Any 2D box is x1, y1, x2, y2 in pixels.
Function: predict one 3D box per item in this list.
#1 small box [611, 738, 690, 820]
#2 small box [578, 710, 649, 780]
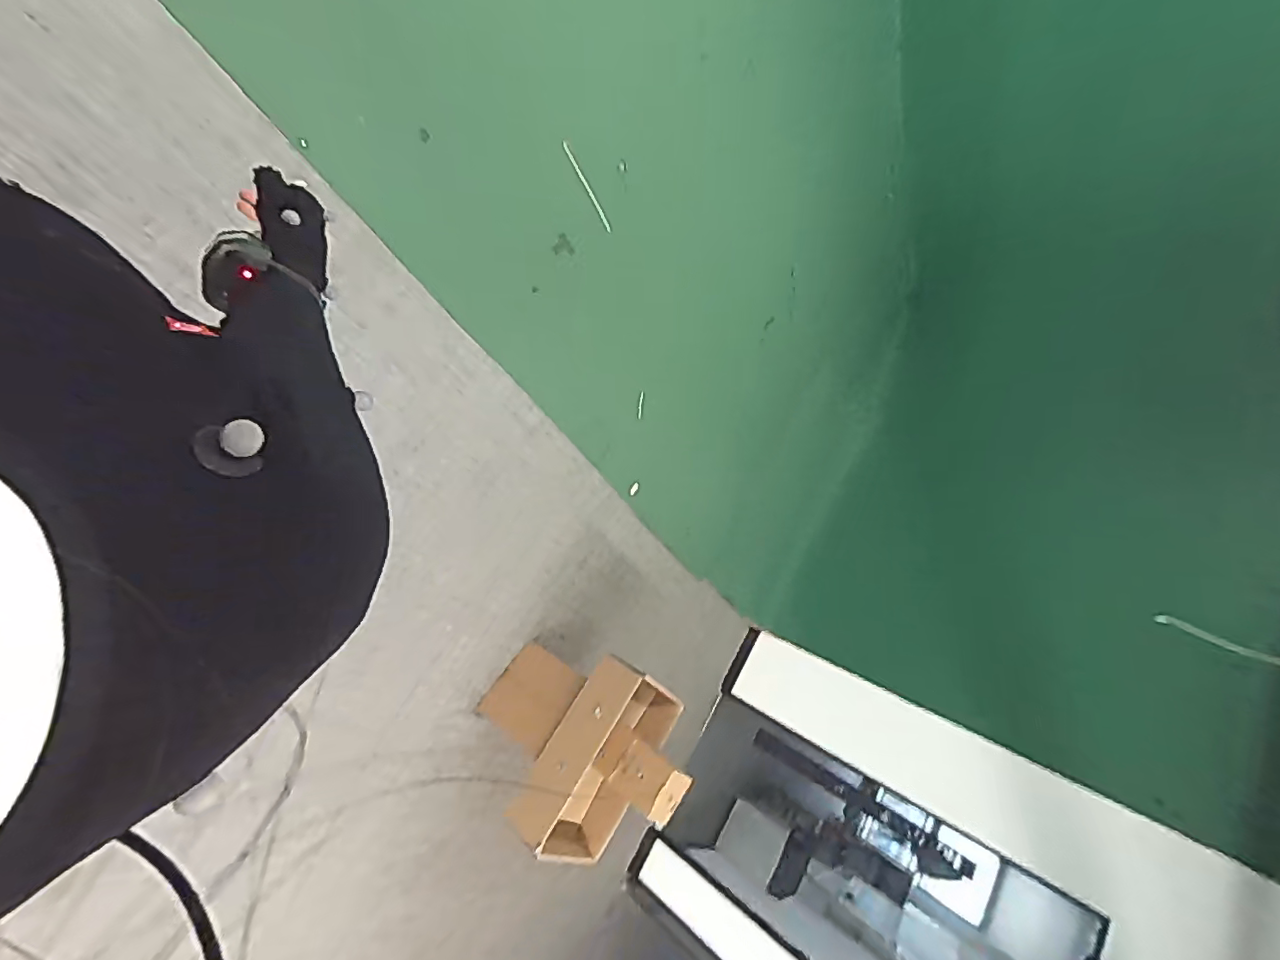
[{"bbox_3d":[0.033,0.997,1.812,0.168,0.176,0.179,-53,138,-17],"label":"small box"},{"bbox_3d":[-0.089,0.942,1.907,0.168,0.176,0.179,-52,141,-18],"label":"small box"}]
